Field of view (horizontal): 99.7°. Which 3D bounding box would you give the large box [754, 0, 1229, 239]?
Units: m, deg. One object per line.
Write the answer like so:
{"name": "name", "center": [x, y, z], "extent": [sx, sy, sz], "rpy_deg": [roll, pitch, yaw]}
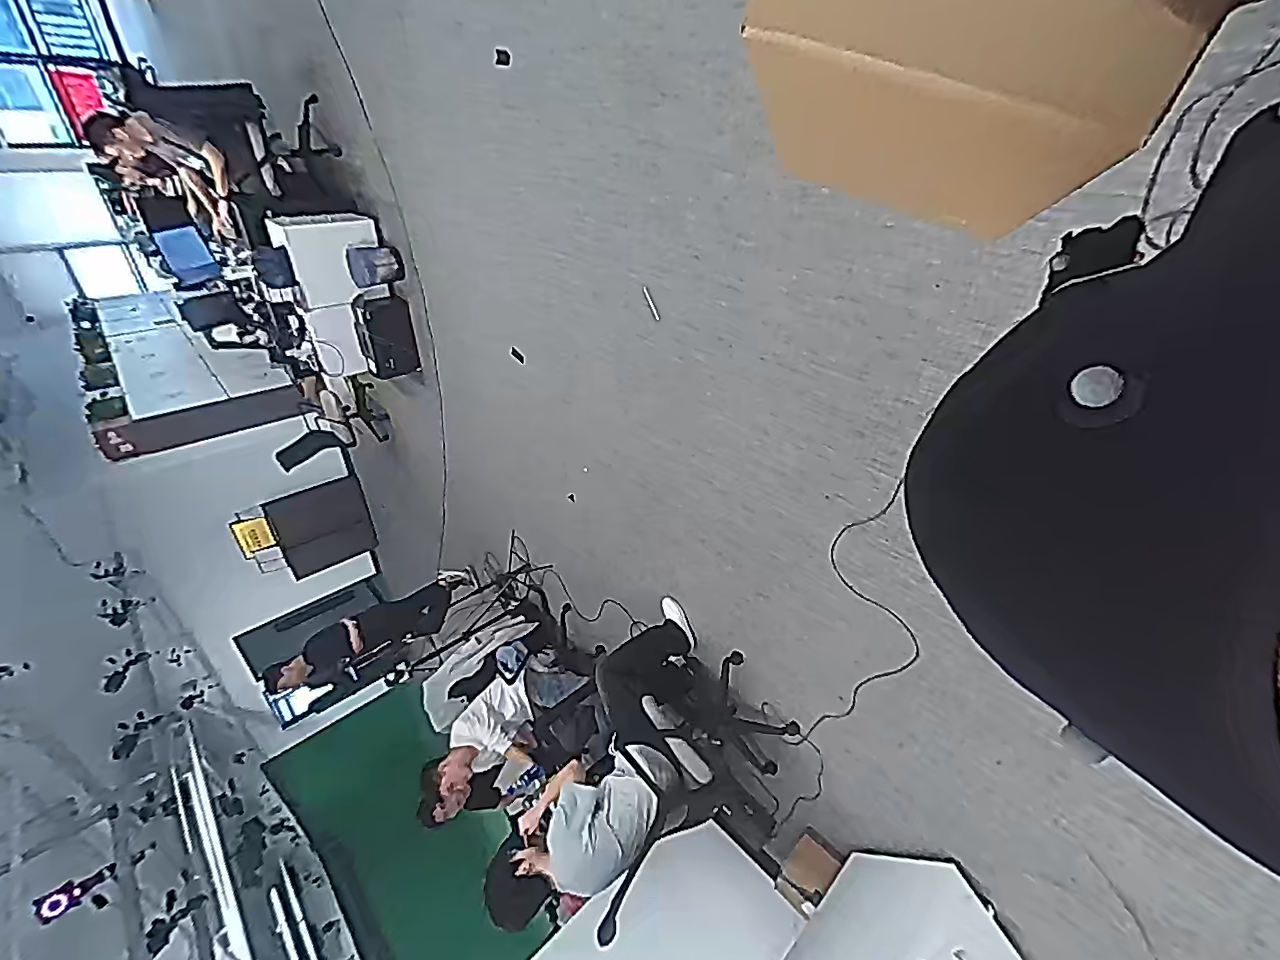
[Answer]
{"name": "large box", "center": [0.339, -0.482, 0.553], "extent": [0.320, 0.408, 0.320], "rpy_deg": [26, 111, 11]}
